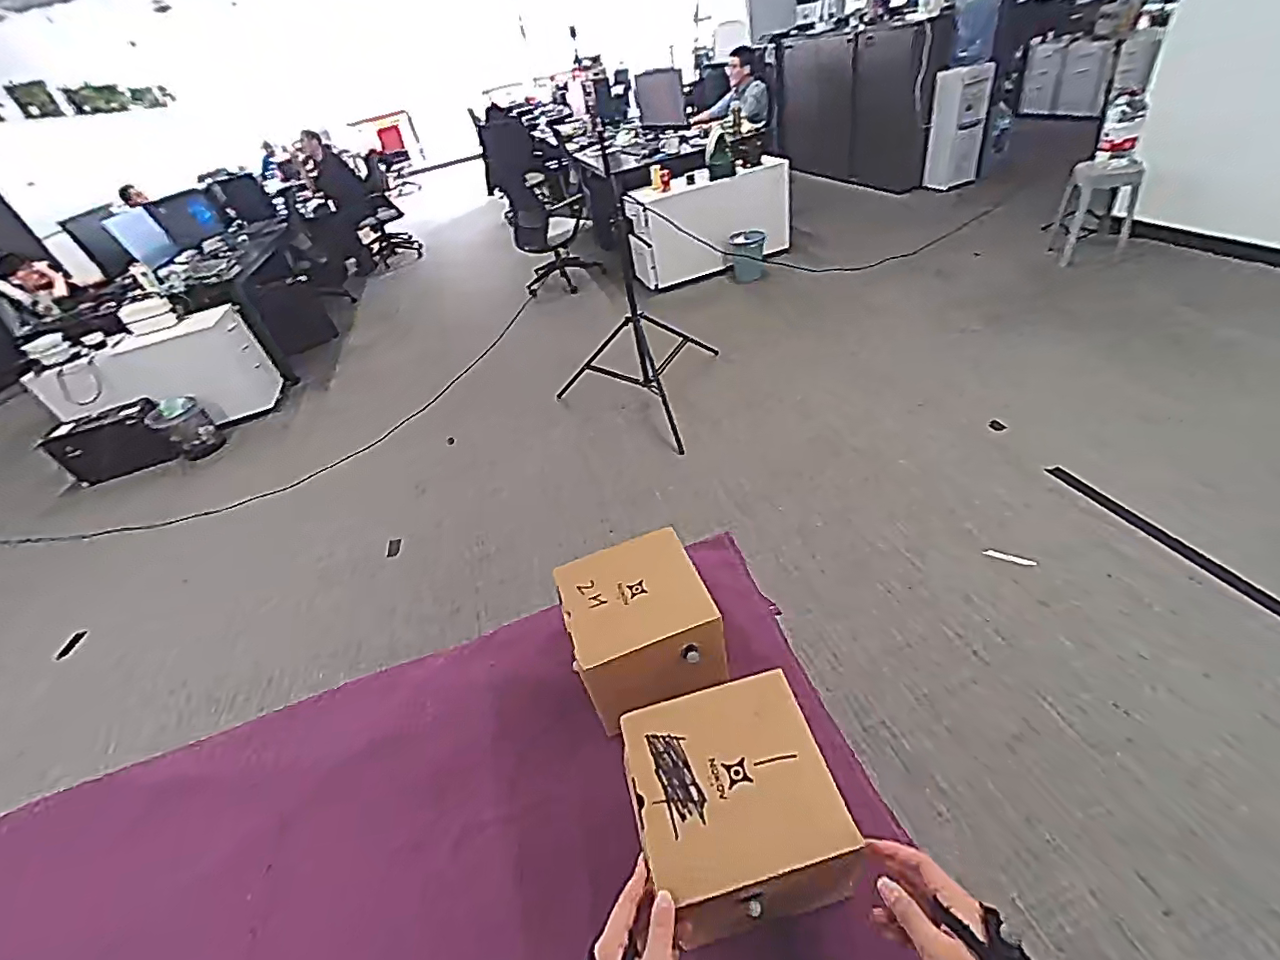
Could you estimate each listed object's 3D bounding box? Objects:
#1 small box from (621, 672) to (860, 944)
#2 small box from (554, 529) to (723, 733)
[{"bbox_3d":[0.094,0.328,0.540,0.179,0.176,0.168,-16,42,-3],"label":"small box"},{"bbox_3d":[0.002,0.201,0.722,0.179,0.176,0.168,-20,40,-8],"label":"small box"}]
